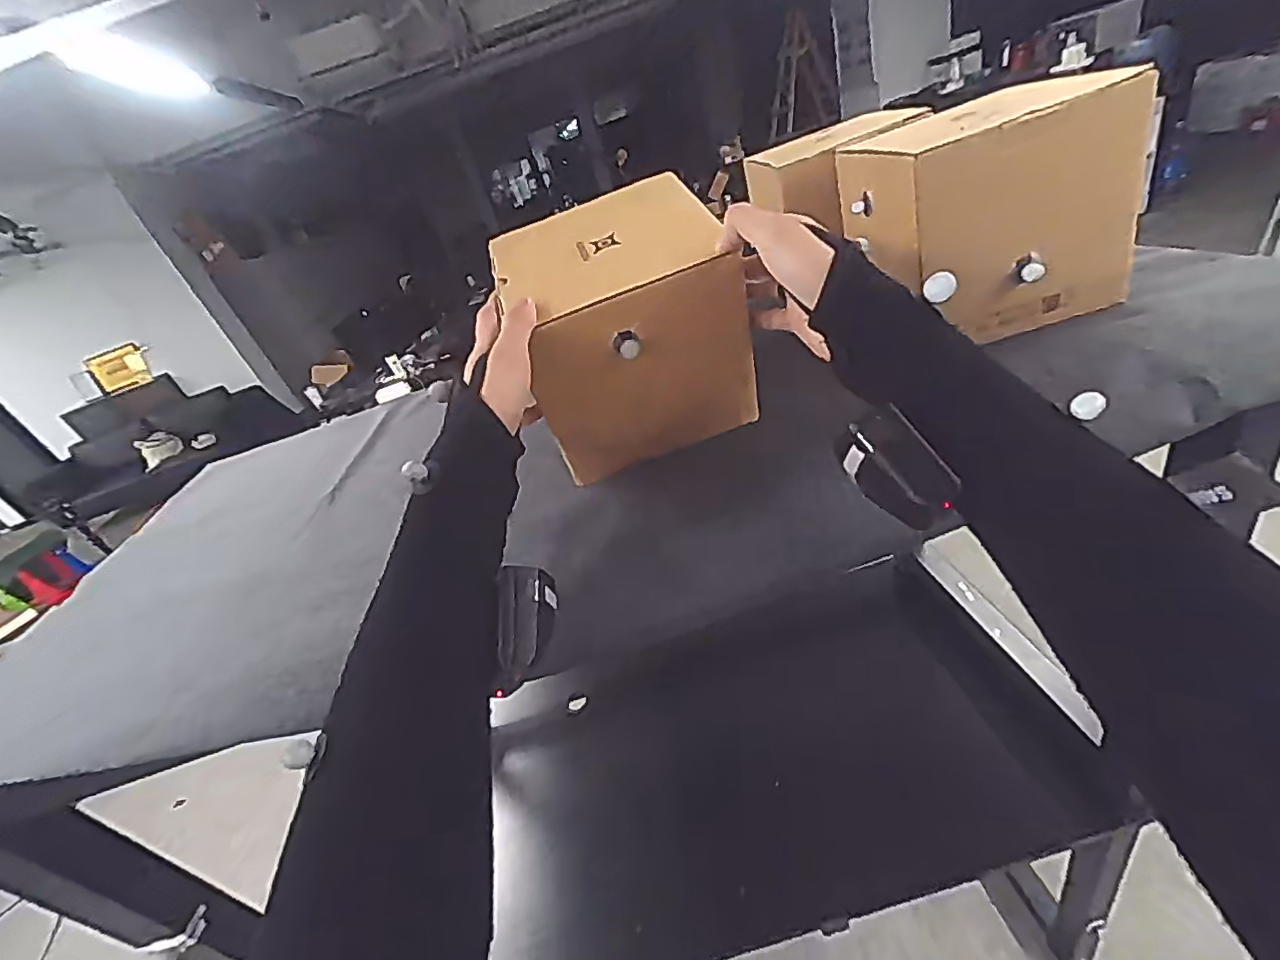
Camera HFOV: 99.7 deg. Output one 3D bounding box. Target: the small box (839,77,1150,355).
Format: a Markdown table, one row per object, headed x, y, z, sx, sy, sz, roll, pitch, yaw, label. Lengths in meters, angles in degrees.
| x | y | z | sx | sy | sz | roll | pitch | yaw | label |
| --- | --- | --- | --- | --- | --- | --- | --- | --- | --- |
| 0.299 | -0.235 | 0.498 | 0.168 | 0.176 | 0.179 | -16 | 31 | 8 | small box |

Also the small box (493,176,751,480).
| x | y | z | sx | sy | sz | roll | pitch | yaw | label |
| --- | --- | --- | --- | --- | --- | --- | --- | --- | --- |
| -0.010 | -0.131 | 0.484 | 0.179 | 0.176 | 0.168 | -21 | 48 | 1 | small box |
